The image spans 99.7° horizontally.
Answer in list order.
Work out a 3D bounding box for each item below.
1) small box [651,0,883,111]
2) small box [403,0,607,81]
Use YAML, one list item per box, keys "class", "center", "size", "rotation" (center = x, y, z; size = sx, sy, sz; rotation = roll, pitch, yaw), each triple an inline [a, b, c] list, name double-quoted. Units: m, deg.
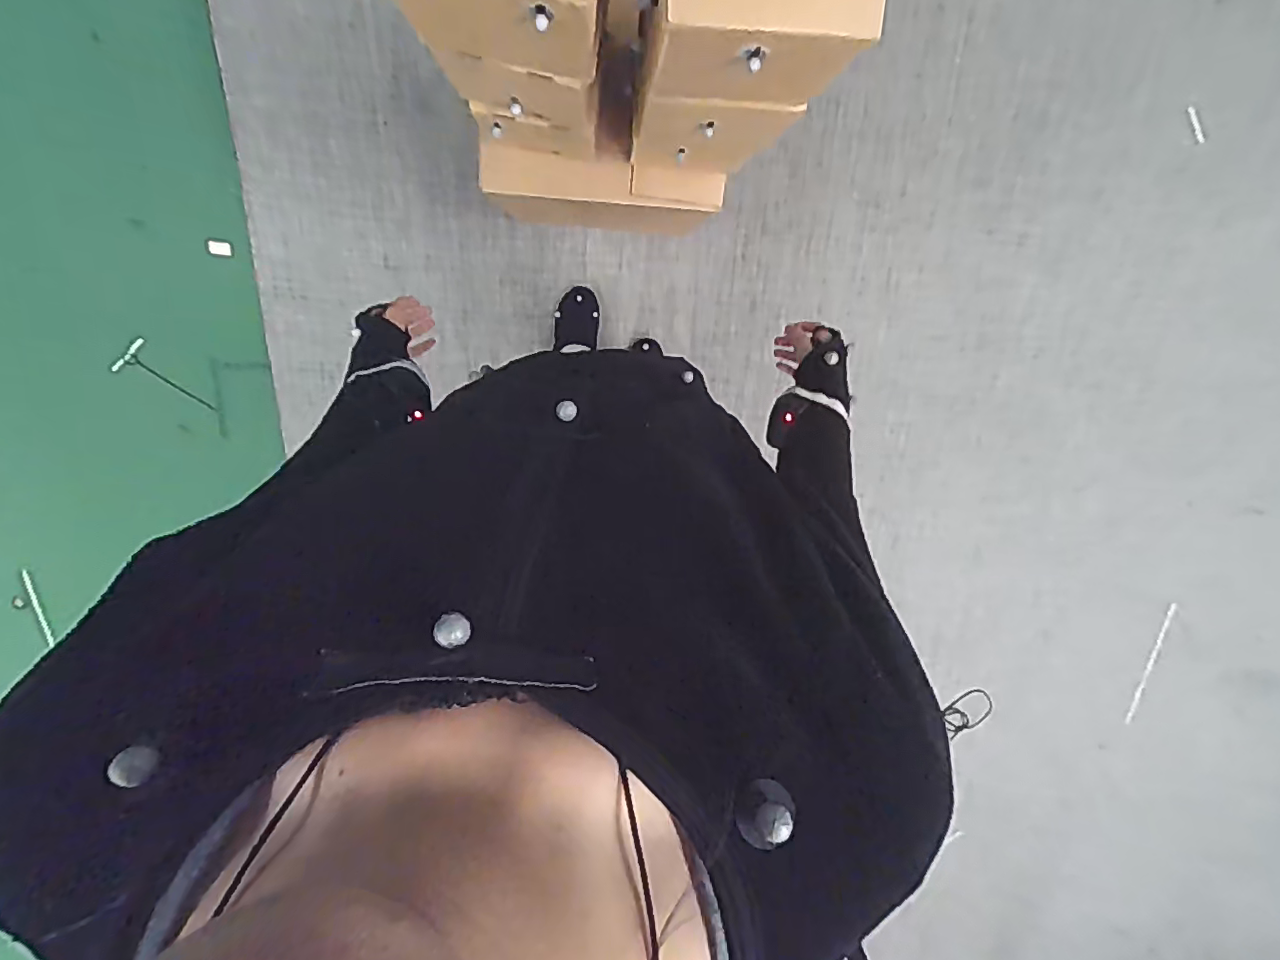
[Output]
- class: "small box"
  center: [0.103, -0.451, 0.480]
  size: [0.179, 0.176, 0.168]
  rotation: [1, 110, -4]
- class: "small box"
  center: [-0.113, -0.476, 0.459]
  size: [0.179, 0.176, 0.168]
  rotation: [8, 108, -8]
